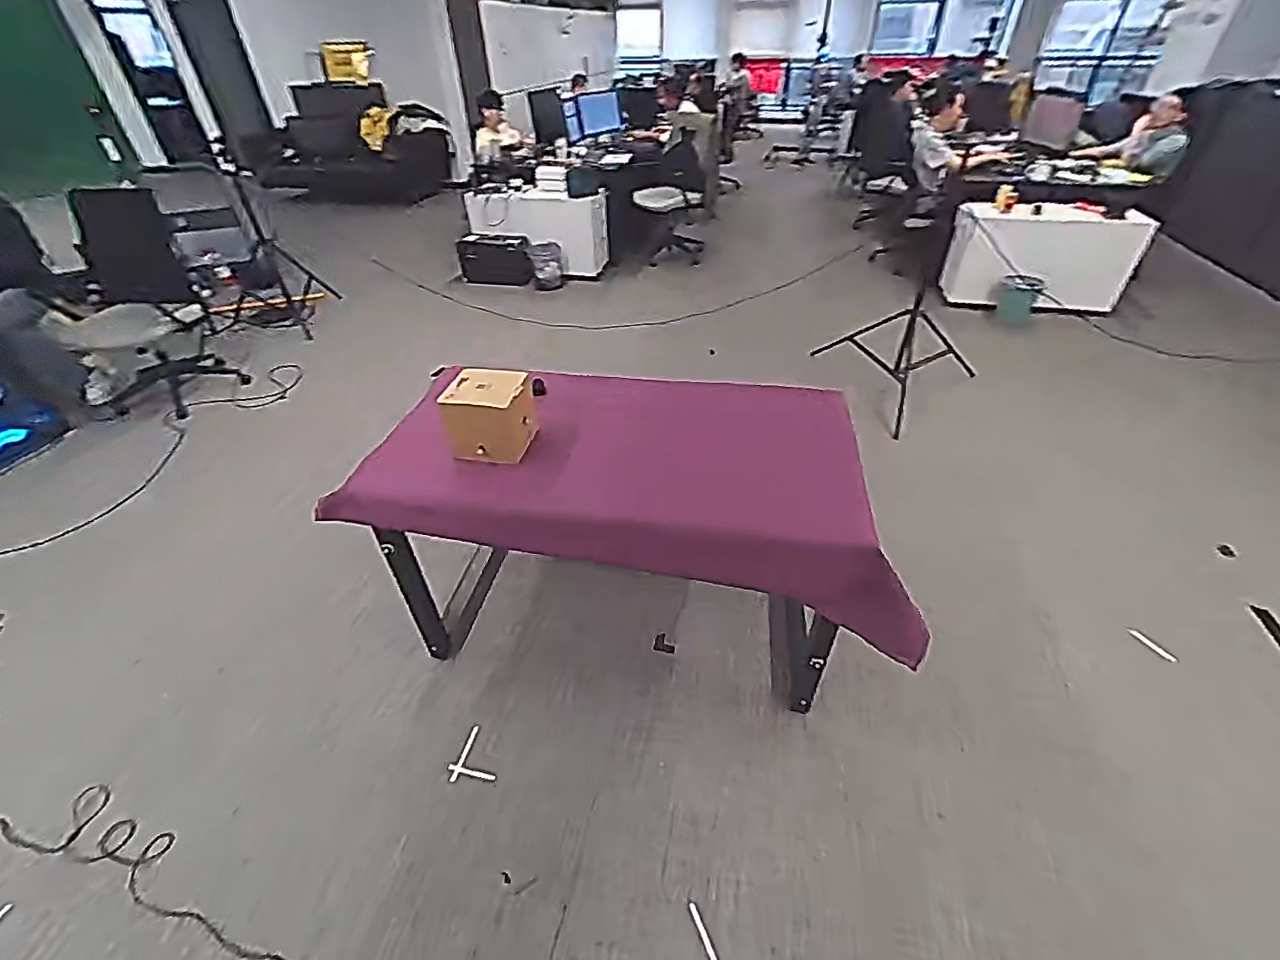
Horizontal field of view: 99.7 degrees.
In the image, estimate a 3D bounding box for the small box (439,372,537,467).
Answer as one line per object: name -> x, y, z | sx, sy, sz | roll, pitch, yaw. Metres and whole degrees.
small box -> -0.369, -0.150, 1.355 | 0.179, 0.176, 0.168 | 6, 40, 8
